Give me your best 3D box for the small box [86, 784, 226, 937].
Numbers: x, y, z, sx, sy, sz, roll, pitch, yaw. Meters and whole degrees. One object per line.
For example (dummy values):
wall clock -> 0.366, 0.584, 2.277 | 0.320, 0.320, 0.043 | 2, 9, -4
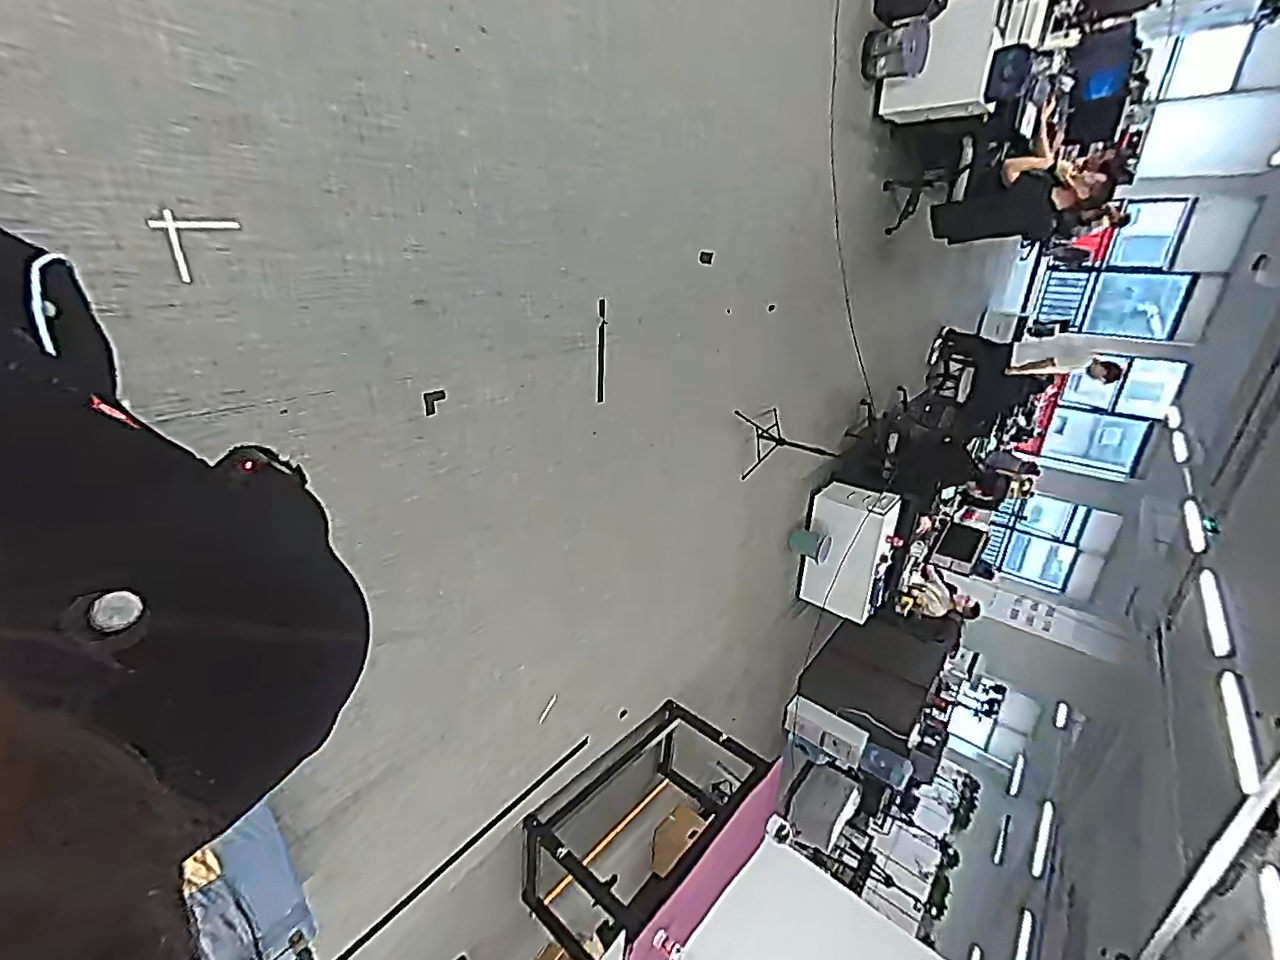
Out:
small box -> -1.019, 0.783, 1.139 | 0.168, 0.176, 0.179 | -25, 125, -43
